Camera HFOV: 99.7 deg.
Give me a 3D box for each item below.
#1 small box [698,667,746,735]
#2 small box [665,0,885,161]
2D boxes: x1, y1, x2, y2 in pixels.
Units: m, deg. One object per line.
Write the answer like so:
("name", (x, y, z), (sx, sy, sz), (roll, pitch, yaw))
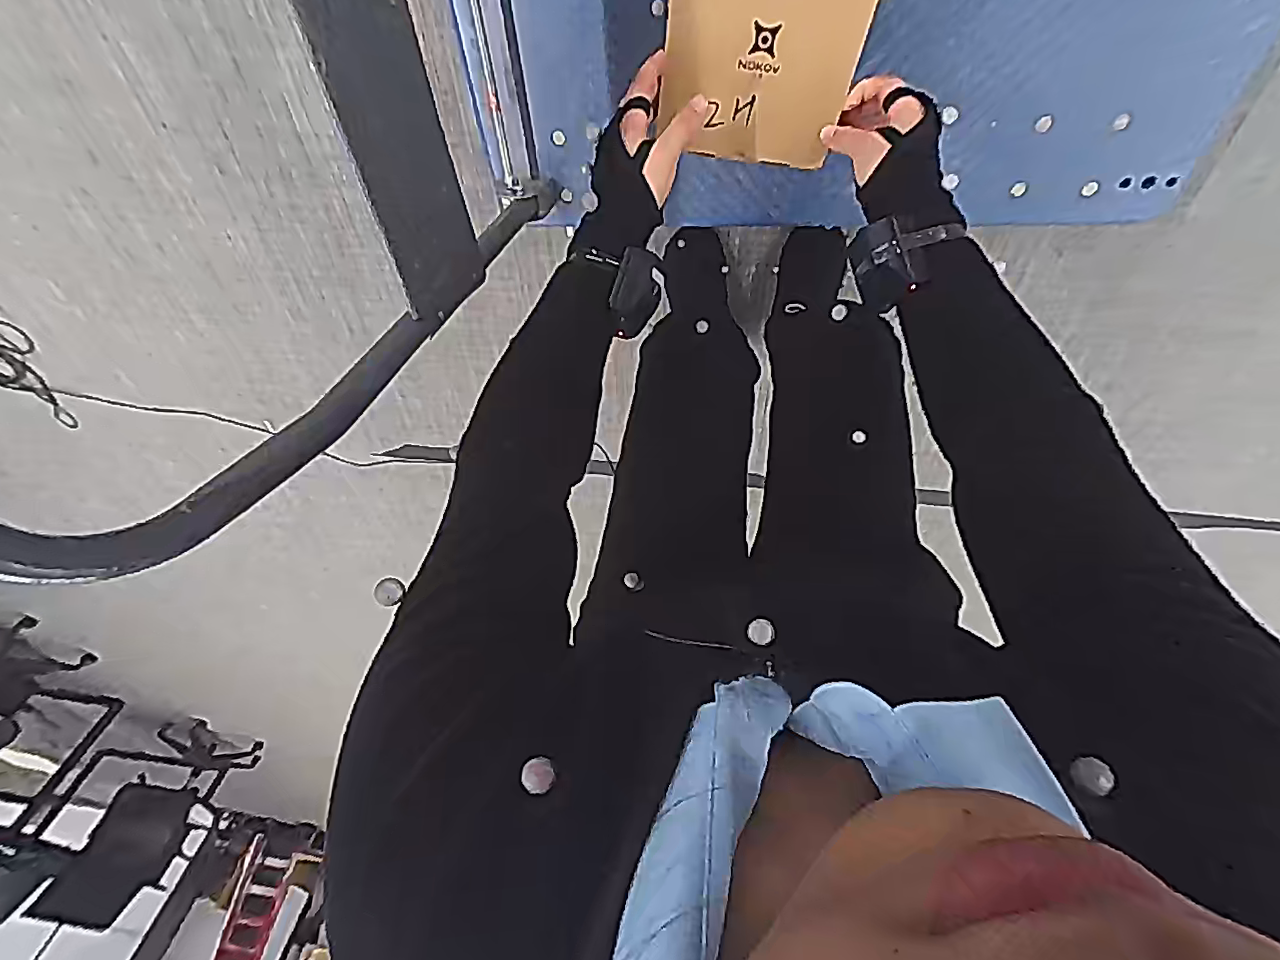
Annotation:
("small box", (0.303, 0.816, 1.997), (0.168, 0.176, 0.179), (3, 134, 8))
("small box", (0.119, -0.434, 0.503), (0.168, 0.176, 0.179), (8, 142, 0))
